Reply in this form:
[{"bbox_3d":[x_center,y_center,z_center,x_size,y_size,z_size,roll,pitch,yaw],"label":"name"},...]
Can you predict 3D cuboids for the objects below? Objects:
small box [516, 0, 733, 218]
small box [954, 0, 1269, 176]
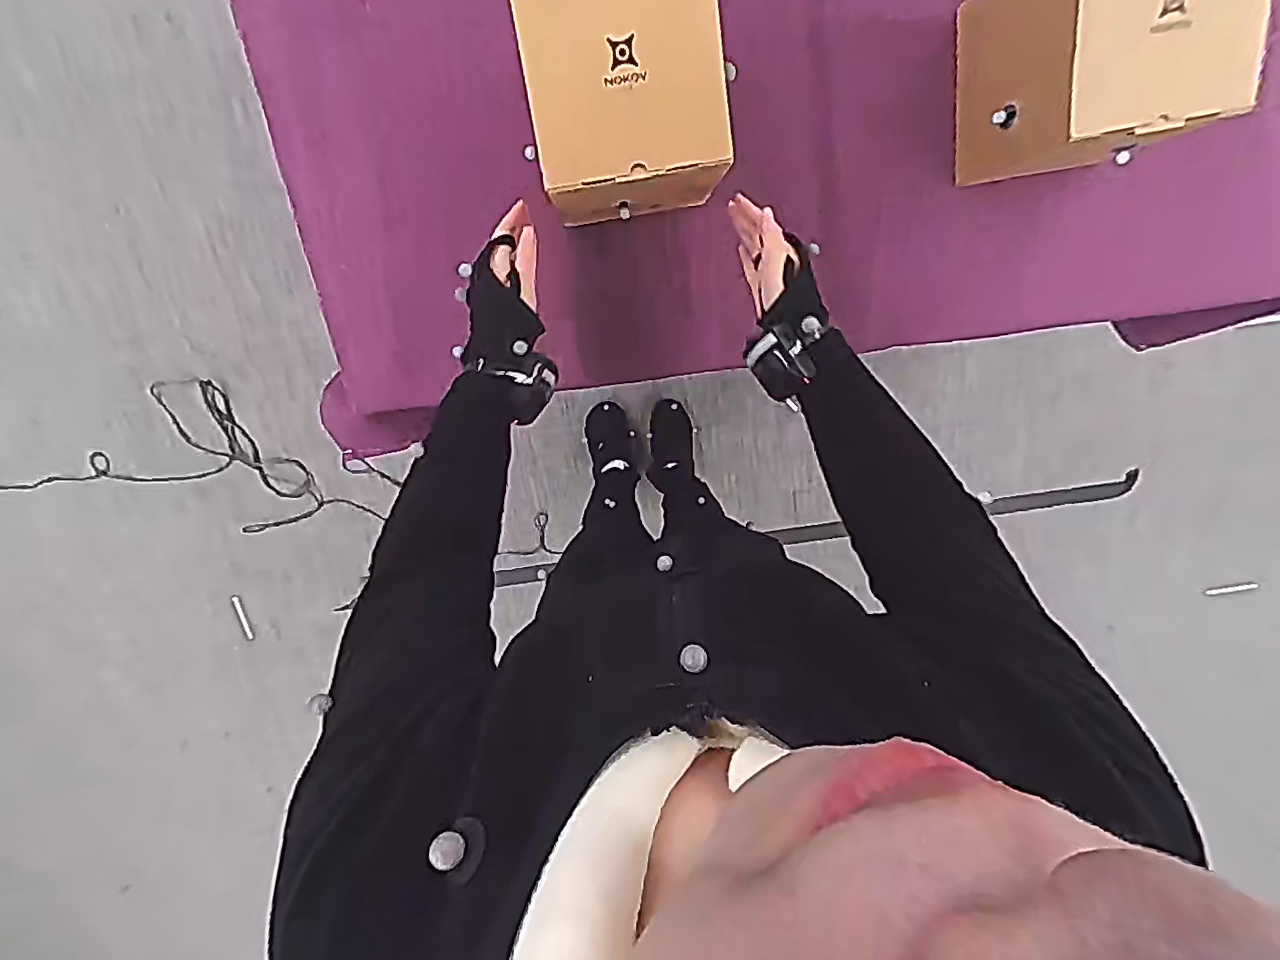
[{"bbox_3d":[-0.017,-0.369,0.516,0.168,0.176,0.179,-10,108,0],"label":"small box"},{"bbox_3d":[0.430,-0.411,0.521,0.168,0.176,0.179,-9,107,0],"label":"small box"}]
